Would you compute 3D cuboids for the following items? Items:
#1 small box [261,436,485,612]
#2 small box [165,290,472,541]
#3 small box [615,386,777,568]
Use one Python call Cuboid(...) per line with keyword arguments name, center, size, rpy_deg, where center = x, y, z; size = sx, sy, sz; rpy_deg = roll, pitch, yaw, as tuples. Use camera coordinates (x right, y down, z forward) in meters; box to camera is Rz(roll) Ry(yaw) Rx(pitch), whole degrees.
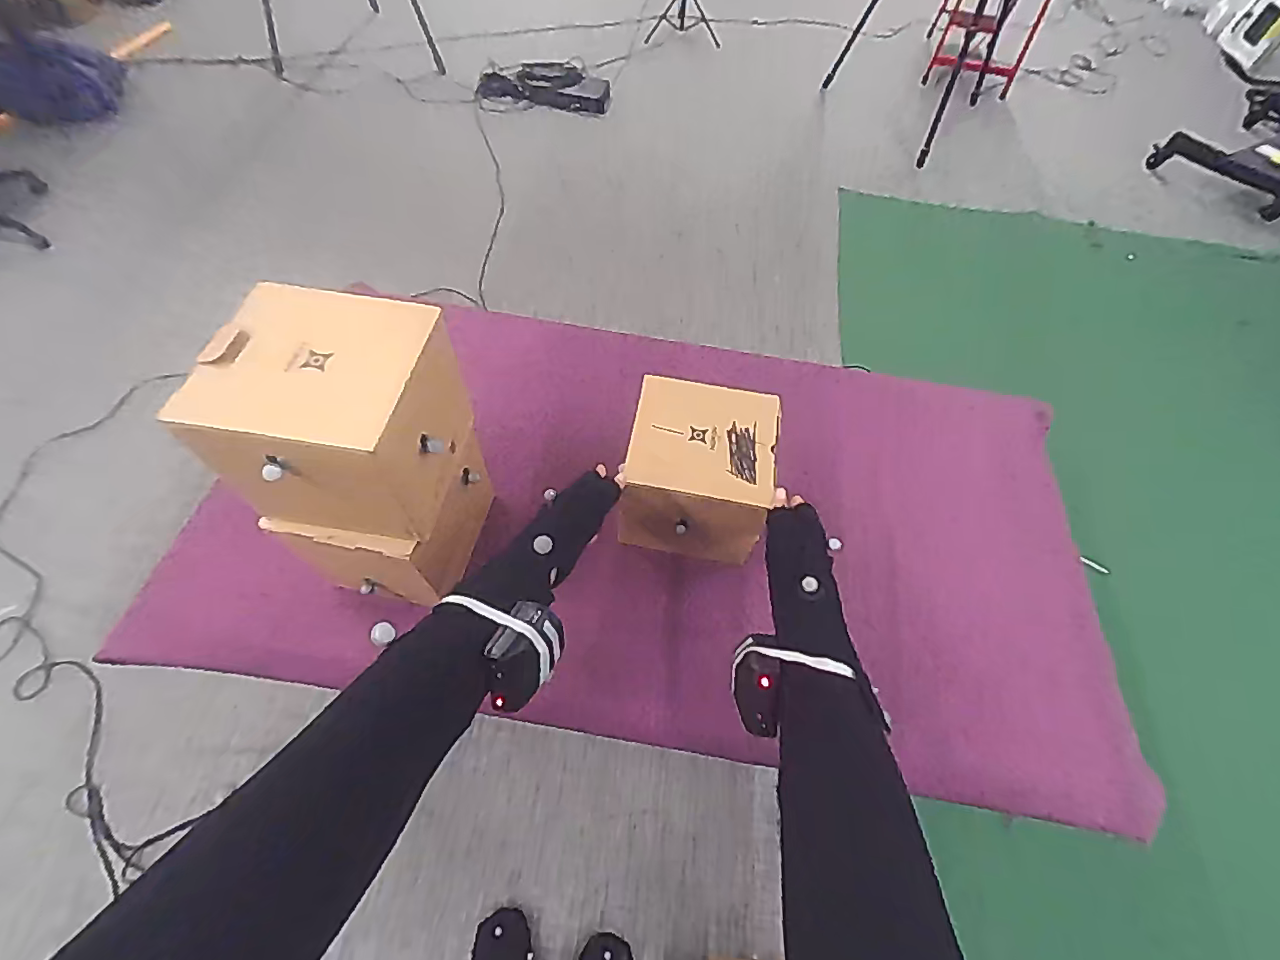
Cuboid(name="small box", center=(-0.302, 0.040, 0.663), size=(0.168, 0.176, 0.179), rpy_deg=(13, 59, 3))
Cuboid(name="small box", center=(-0.281, -0.054, 0.530), size=(0.179, 0.176, 0.168), rpy_deg=(9, 59, 1))
Cuboid(name="small box", center=(0.069, 0.004, 0.719), size=(0.179, 0.176, 0.168), rpy_deg=(11, 59, 2))
